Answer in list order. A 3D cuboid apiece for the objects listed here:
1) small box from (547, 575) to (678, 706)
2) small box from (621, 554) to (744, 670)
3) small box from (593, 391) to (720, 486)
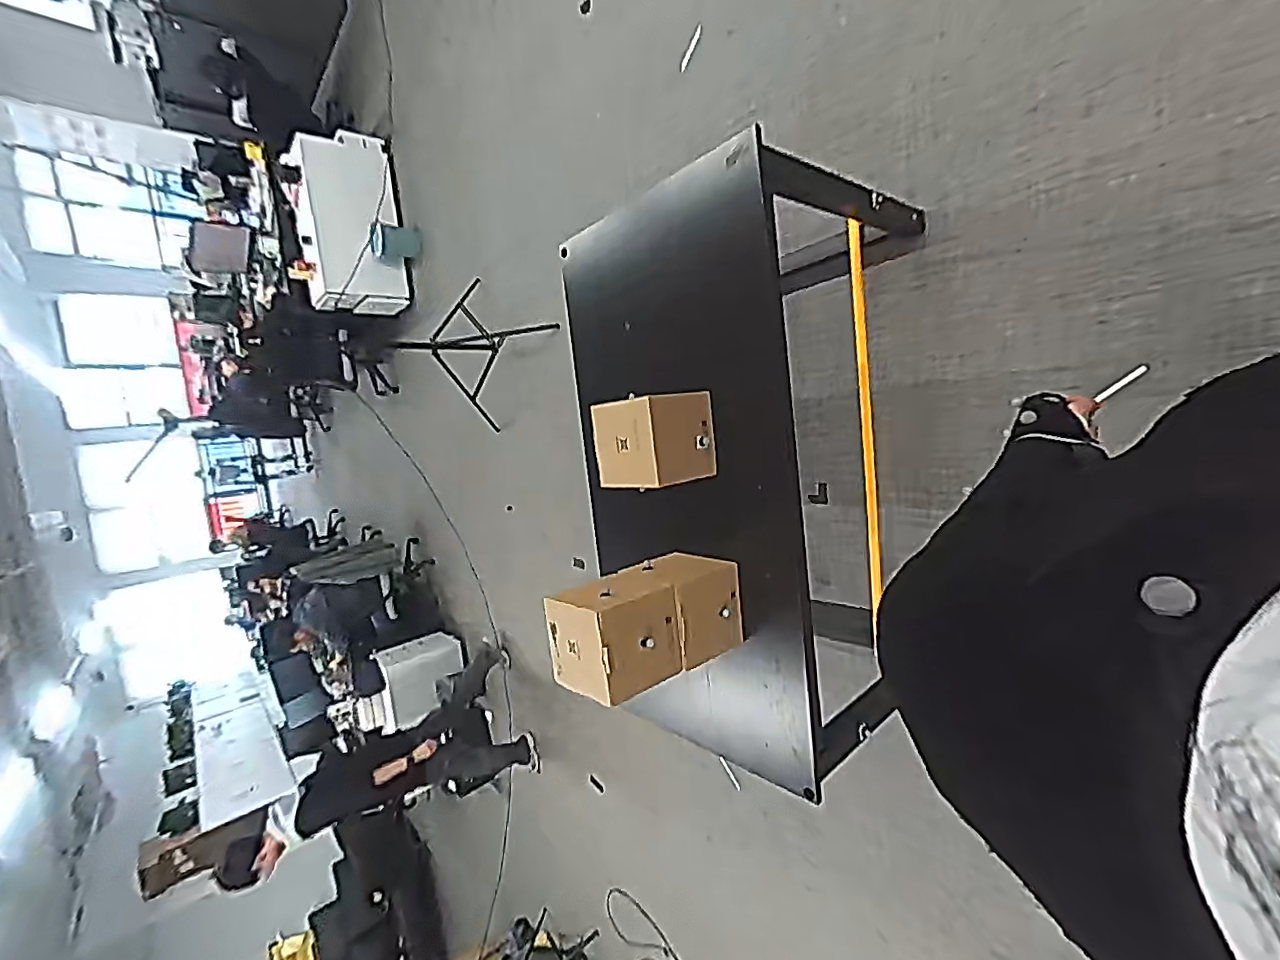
[{"bbox_3d":[-0.044,0.279,0.986,0.179,0.176,0.168,-2,97,49],"label":"small box"},{"bbox_3d":[0.085,0.252,1.084,0.179,0.176,0.168,2,100,49],"label":"small box"},{"bbox_3d":[0.033,-0.082,1.071,0.179,0.176,0.168,-1,99,49],"label":"small box"}]
